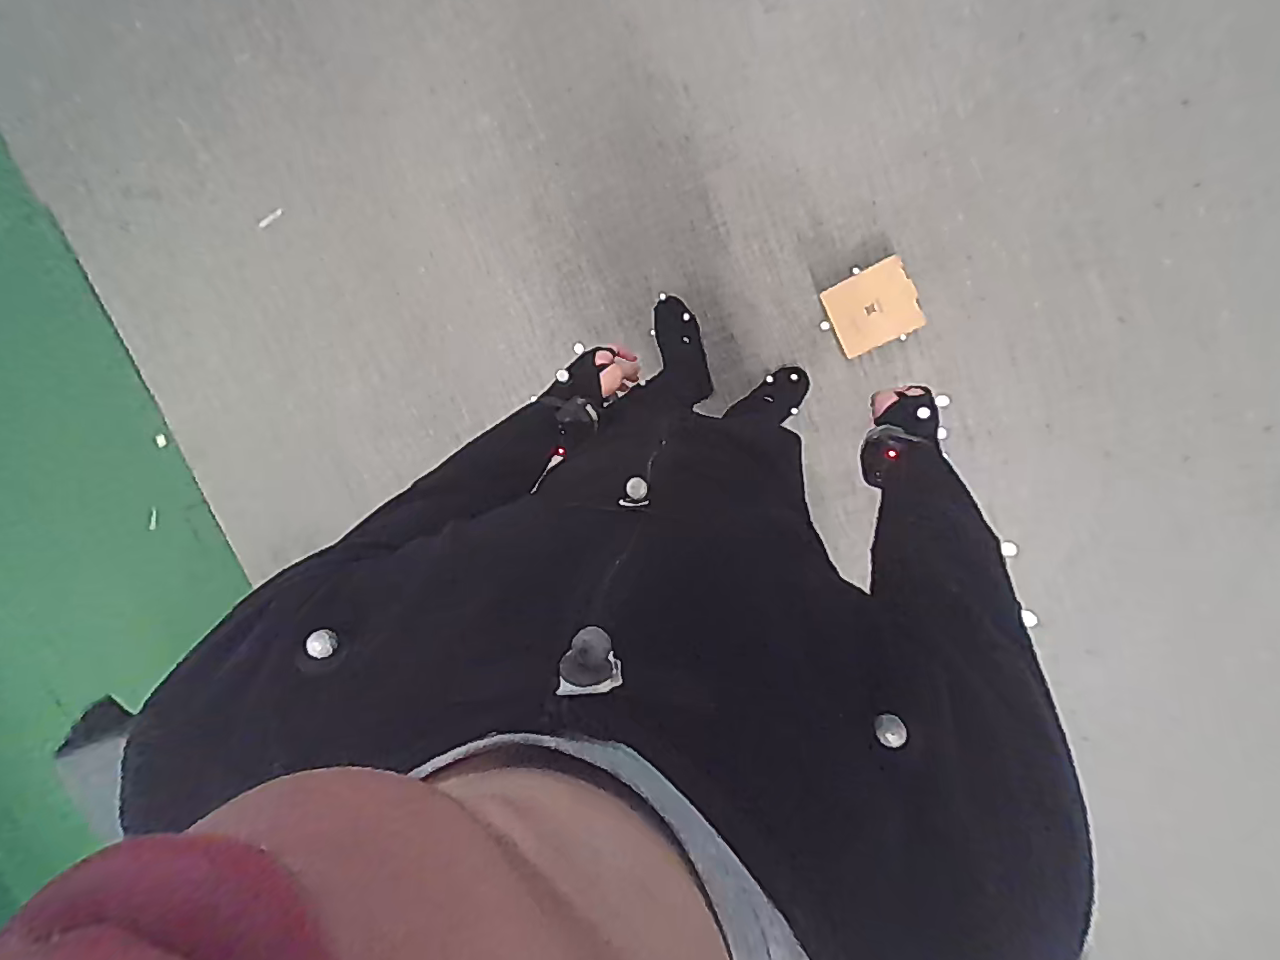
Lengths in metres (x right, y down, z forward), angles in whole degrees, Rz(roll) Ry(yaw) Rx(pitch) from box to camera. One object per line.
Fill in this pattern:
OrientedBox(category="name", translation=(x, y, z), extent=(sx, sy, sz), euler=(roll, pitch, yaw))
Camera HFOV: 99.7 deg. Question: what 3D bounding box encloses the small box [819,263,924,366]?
OrientedBox(category="small box", translation=(0.533, -0.384, 1.272), extent=(0.179, 0.176, 0.168), euler=(-25, 95, 22))
